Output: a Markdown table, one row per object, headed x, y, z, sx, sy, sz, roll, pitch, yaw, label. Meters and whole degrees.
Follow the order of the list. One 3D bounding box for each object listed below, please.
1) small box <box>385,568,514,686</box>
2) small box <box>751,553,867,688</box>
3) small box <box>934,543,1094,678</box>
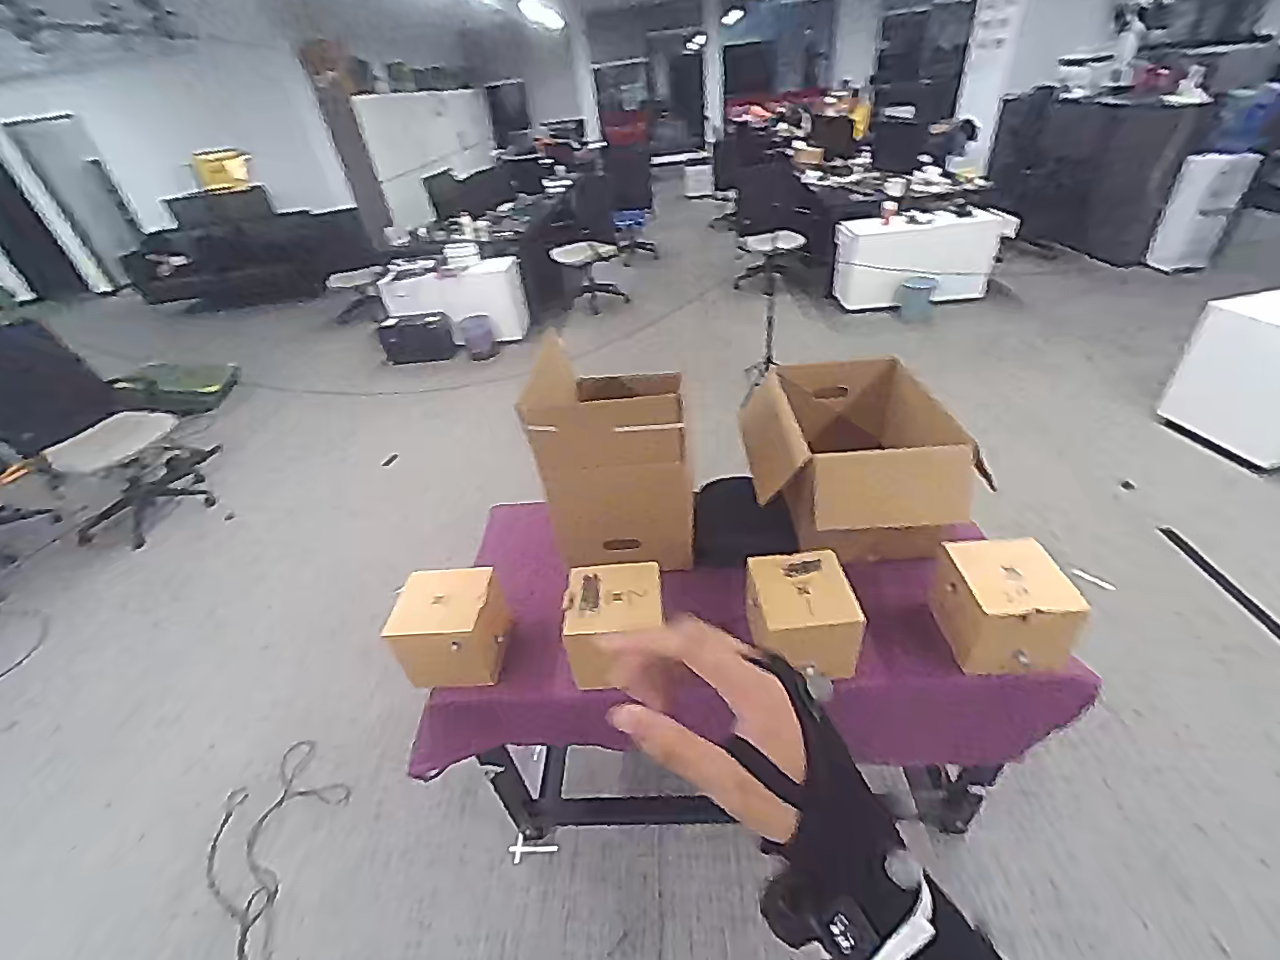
| x | y | z | sx | sy | sz | roll | pitch | yaw | label |
| --- | --- | --- | --- | --- | --- | --- | --- | --- | --- |
| -0.373 | 0.299 | 1.095 | 0.179 | 0.176 | 0.168 | -3 | 36 | 4 | small box |
| 0.306 | 0.264 | 1.021 | 0.168 | 0.176 | 0.179 | -6 | 37 | 3 | small box |
| 0.663 | 0.238 | 0.989 | 0.168 | 0.176 | 0.179 | -4 | 36 | 7 | small box |
